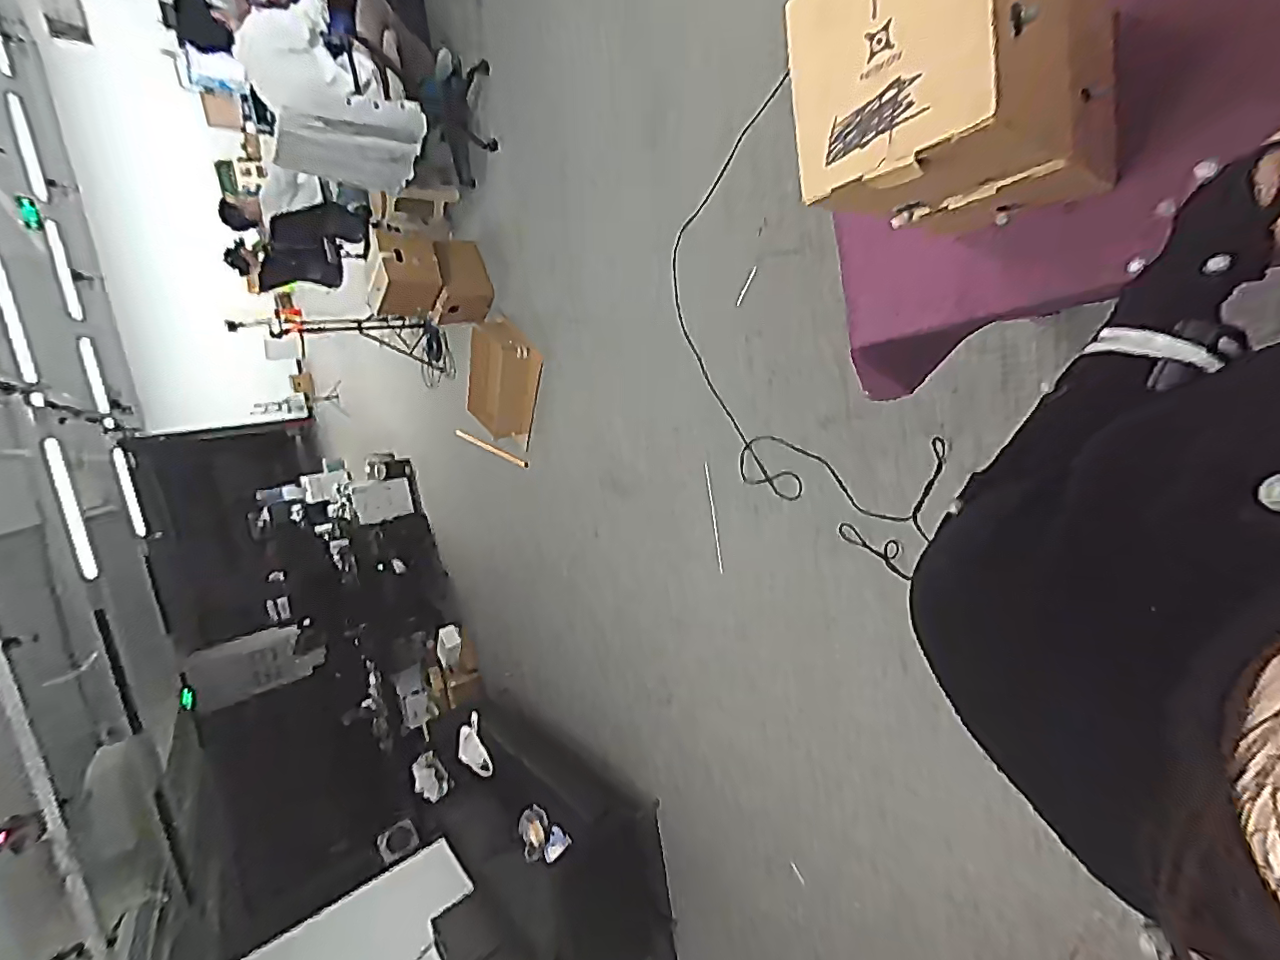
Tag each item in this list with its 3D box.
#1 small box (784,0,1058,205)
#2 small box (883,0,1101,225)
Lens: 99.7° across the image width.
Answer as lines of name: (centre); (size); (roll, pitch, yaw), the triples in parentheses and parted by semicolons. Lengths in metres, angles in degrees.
small box: (0.254, -0.366, 0.487); (0.168, 0.176, 0.179); (4, 104, 51)
small box: (0.380, -0.393, 0.590); (0.168, 0.176, 0.179); (3, 105, 51)
